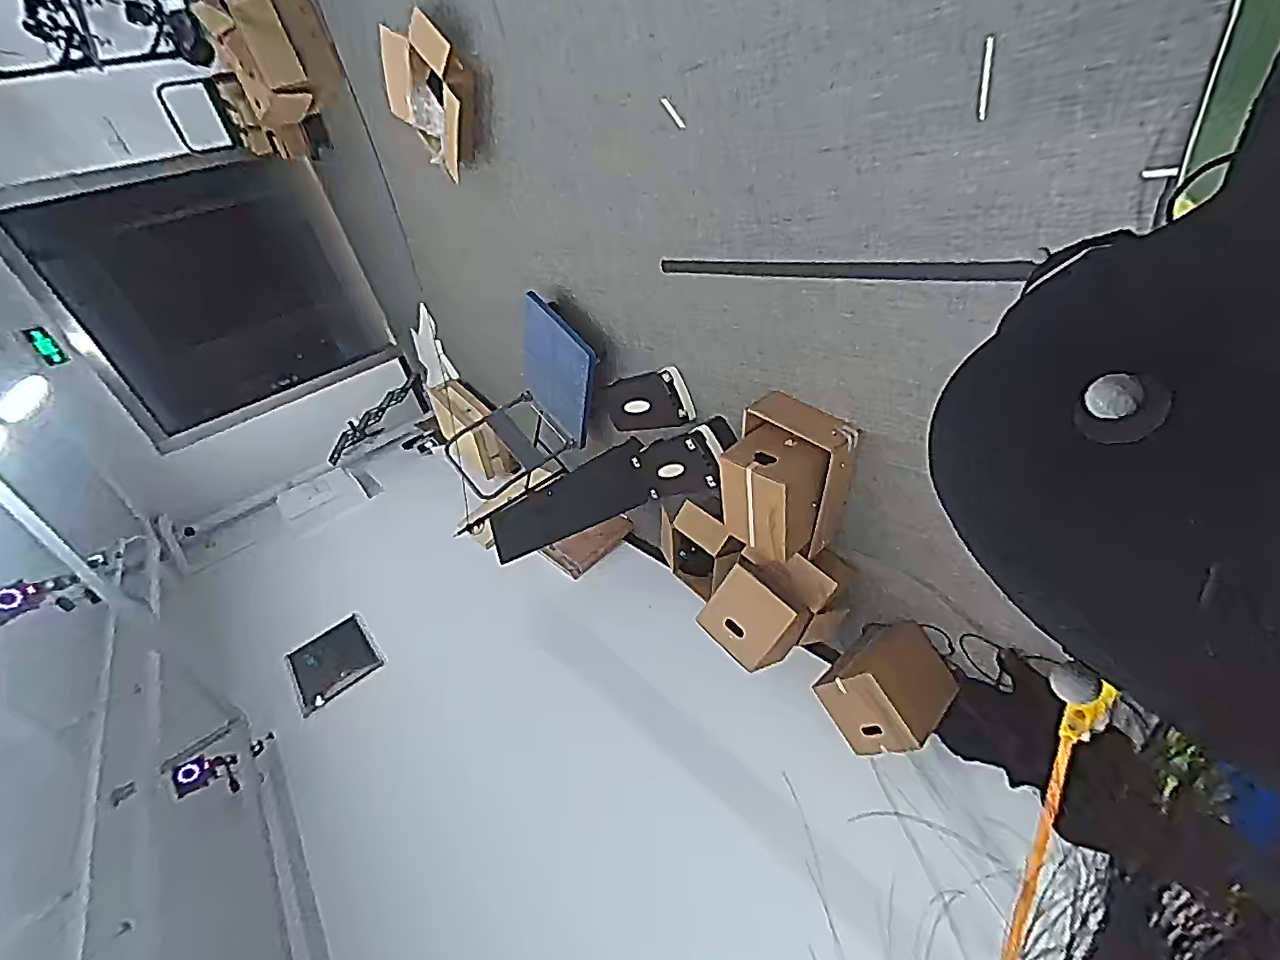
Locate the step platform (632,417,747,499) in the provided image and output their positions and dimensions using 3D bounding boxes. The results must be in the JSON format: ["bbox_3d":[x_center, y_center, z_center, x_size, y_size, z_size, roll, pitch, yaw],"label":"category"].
[{"bbox_3d":[0.222,-0.090,2.740,0.286,0.204,0.684,60,152,-7],"label":"step platform"}]
